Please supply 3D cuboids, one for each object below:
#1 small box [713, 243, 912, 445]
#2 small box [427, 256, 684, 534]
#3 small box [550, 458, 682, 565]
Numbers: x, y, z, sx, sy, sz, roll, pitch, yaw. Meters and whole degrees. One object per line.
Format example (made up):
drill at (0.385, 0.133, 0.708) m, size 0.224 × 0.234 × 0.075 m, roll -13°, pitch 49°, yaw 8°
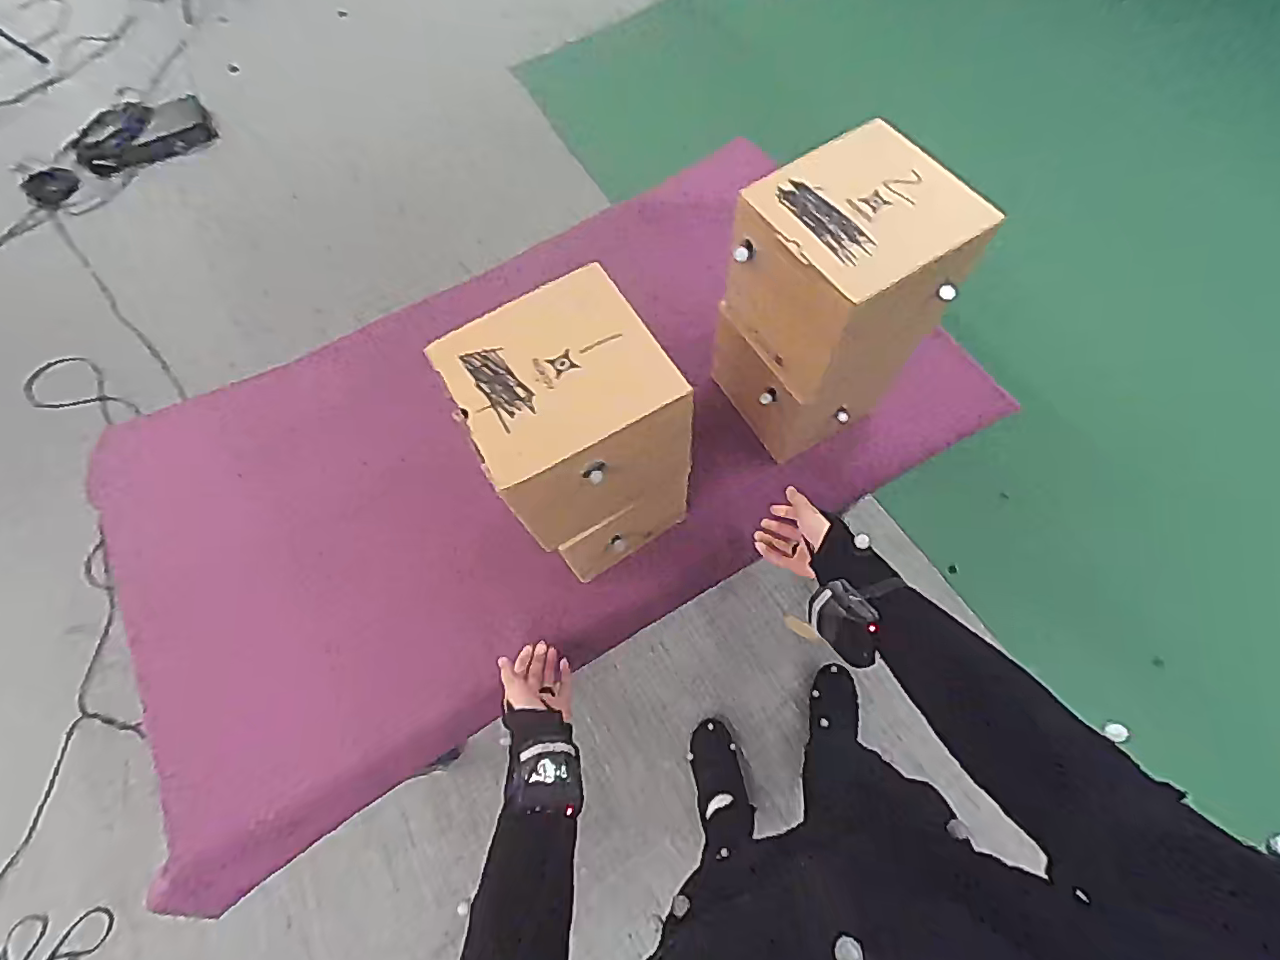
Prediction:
small box at (0.213, -0.167, 0.722) m, size 0.168 × 0.176 × 0.179 m, roll -29°, pitch 68°, yaw -8°
small box at (-0.069, -0.071, 0.526) m, size 0.179 × 0.176 × 0.168 m, roll -28°, pitch 68°, yaw -8°
small box at (-0.058, -0.010, 0.679) m, size 0.168 × 0.176 × 0.179 m, roll -32°, pitch 68°, yaw -9°
